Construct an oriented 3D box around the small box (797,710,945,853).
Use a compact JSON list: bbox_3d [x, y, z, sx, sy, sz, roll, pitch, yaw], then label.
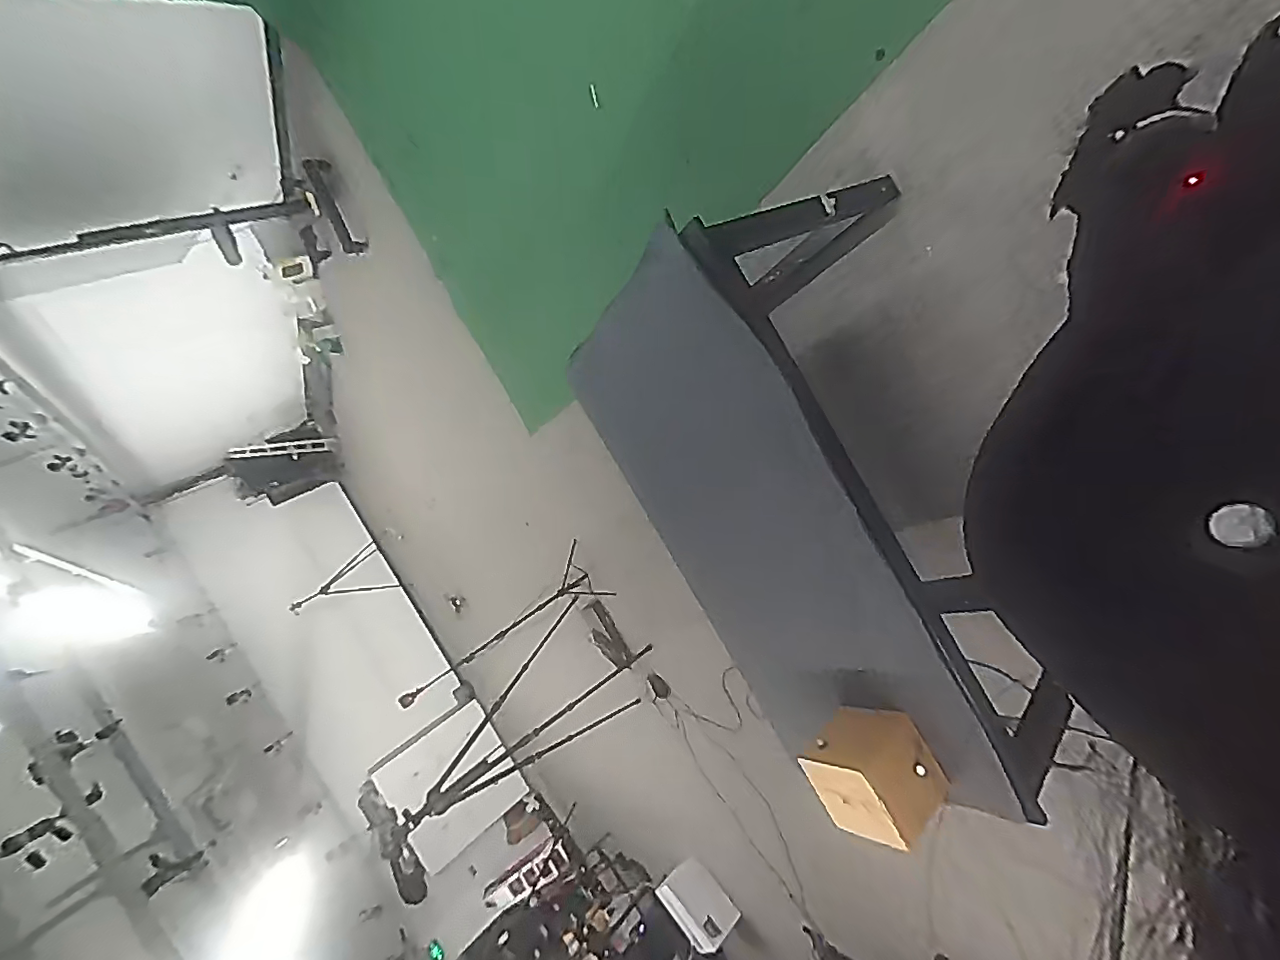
[{"bbox_3d":[0.455,0.580,1.068,0.168,0.176,0.179,59,148,1],"label":"small box"}]
